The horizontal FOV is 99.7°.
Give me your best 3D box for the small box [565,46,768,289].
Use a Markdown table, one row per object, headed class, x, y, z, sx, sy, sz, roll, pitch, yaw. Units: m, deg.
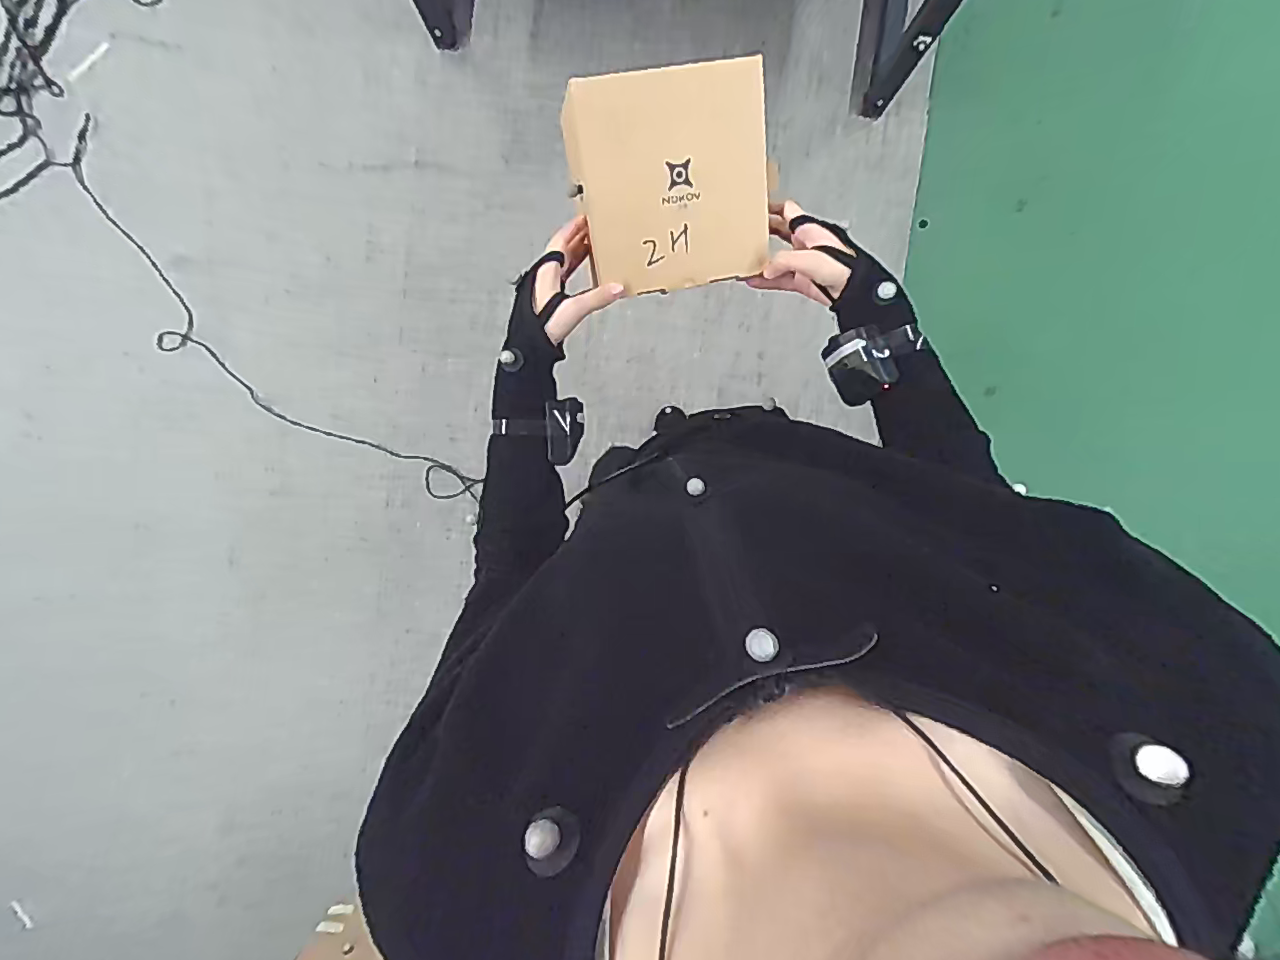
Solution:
| class | x | y | z | sx | sy | sz | roll | pitch | yaw |
| --- | --- | --- | --- | --- | --- | --- | --- | --- | --- |
| small box | 0.020 | -0.300 | 0.548 | 0.168 | 0.176 | 0.179 | -11 | 115 | -5 |
